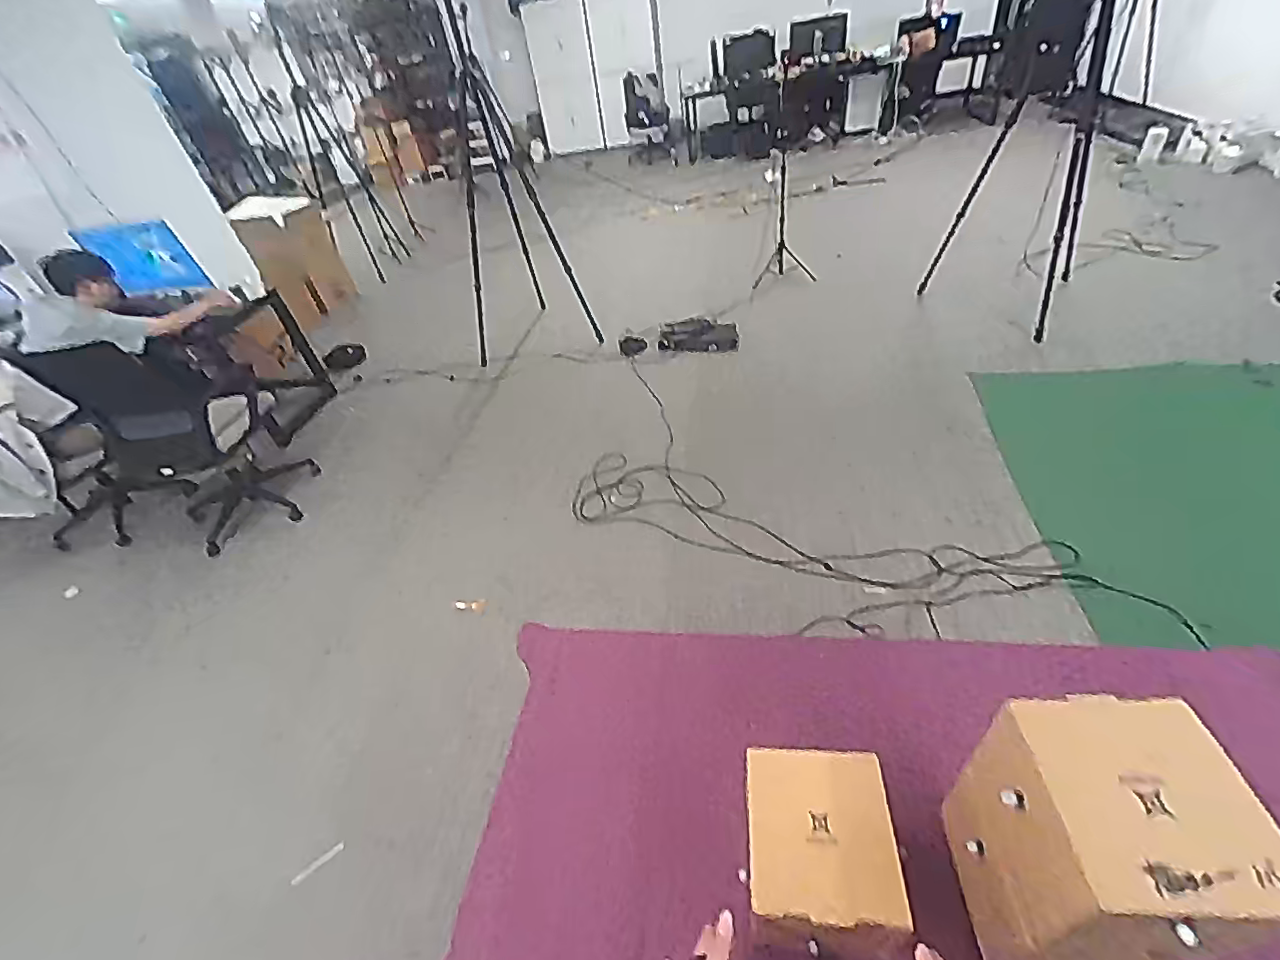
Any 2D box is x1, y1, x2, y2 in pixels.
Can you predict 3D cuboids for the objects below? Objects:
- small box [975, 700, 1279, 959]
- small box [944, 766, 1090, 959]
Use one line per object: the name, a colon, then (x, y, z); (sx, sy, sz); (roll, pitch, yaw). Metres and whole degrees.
small box: (0.458, 0.337, 0.525); (0.168, 0.176, 0.179); (-4, 40, 9)
small box: (0.481, 0.461, 0.630); (0.168, 0.176, 0.179); (-3, 41, 9)
